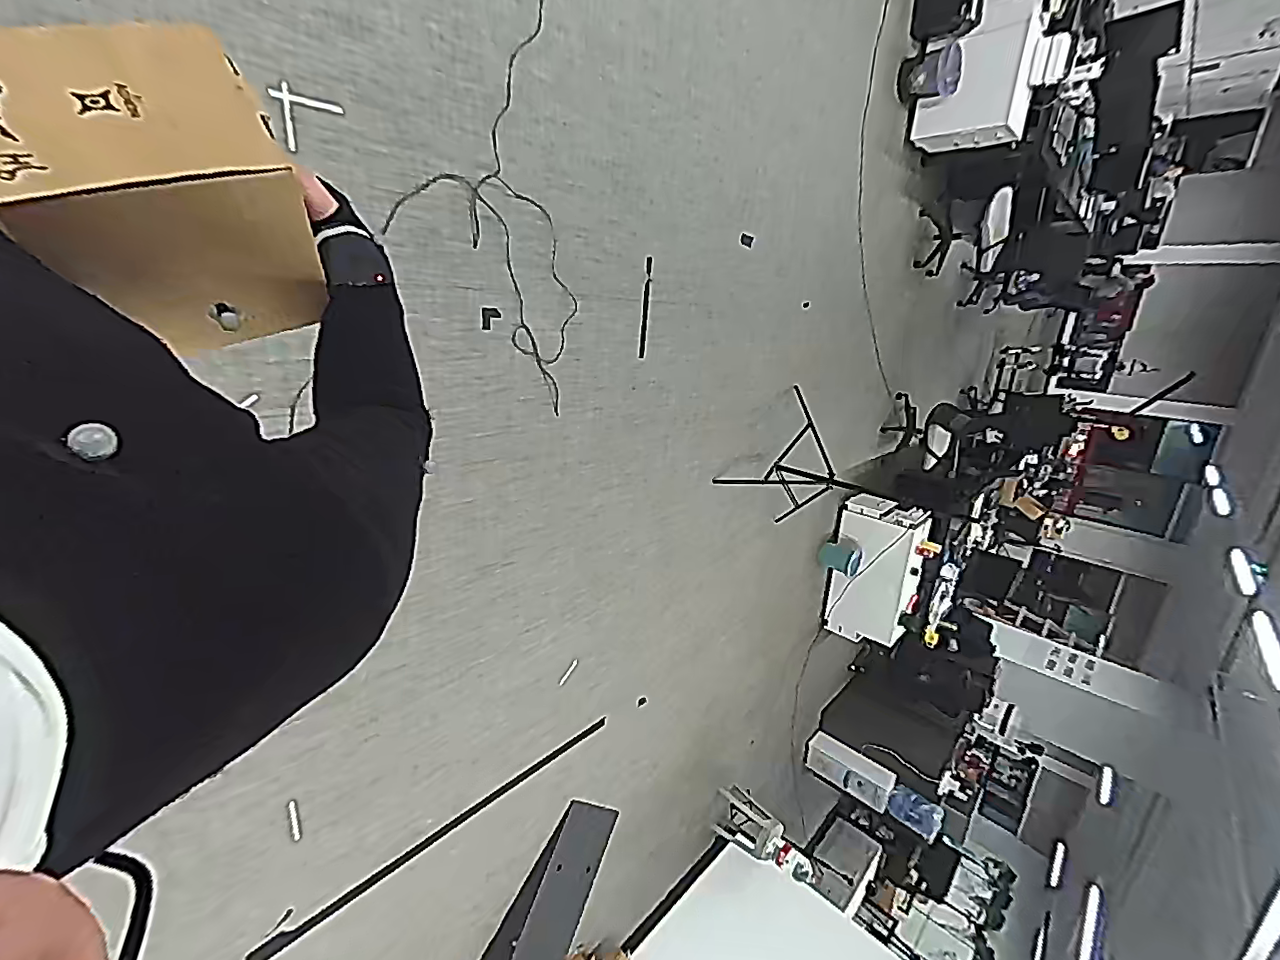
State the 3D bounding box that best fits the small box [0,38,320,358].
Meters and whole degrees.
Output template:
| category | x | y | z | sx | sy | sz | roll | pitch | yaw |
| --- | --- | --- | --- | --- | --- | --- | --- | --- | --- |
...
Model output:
| category | x | y | z | sx | sy | sz | roll | pitch | yaw |
| --- | --- | --- | --- | --- | --- | --- | --- | --- | --- |
| small box | -0.402 | -0.235 | 0.467 | 0.179 | 0.168 | 0.176 | -27 | 165 | -29 |
